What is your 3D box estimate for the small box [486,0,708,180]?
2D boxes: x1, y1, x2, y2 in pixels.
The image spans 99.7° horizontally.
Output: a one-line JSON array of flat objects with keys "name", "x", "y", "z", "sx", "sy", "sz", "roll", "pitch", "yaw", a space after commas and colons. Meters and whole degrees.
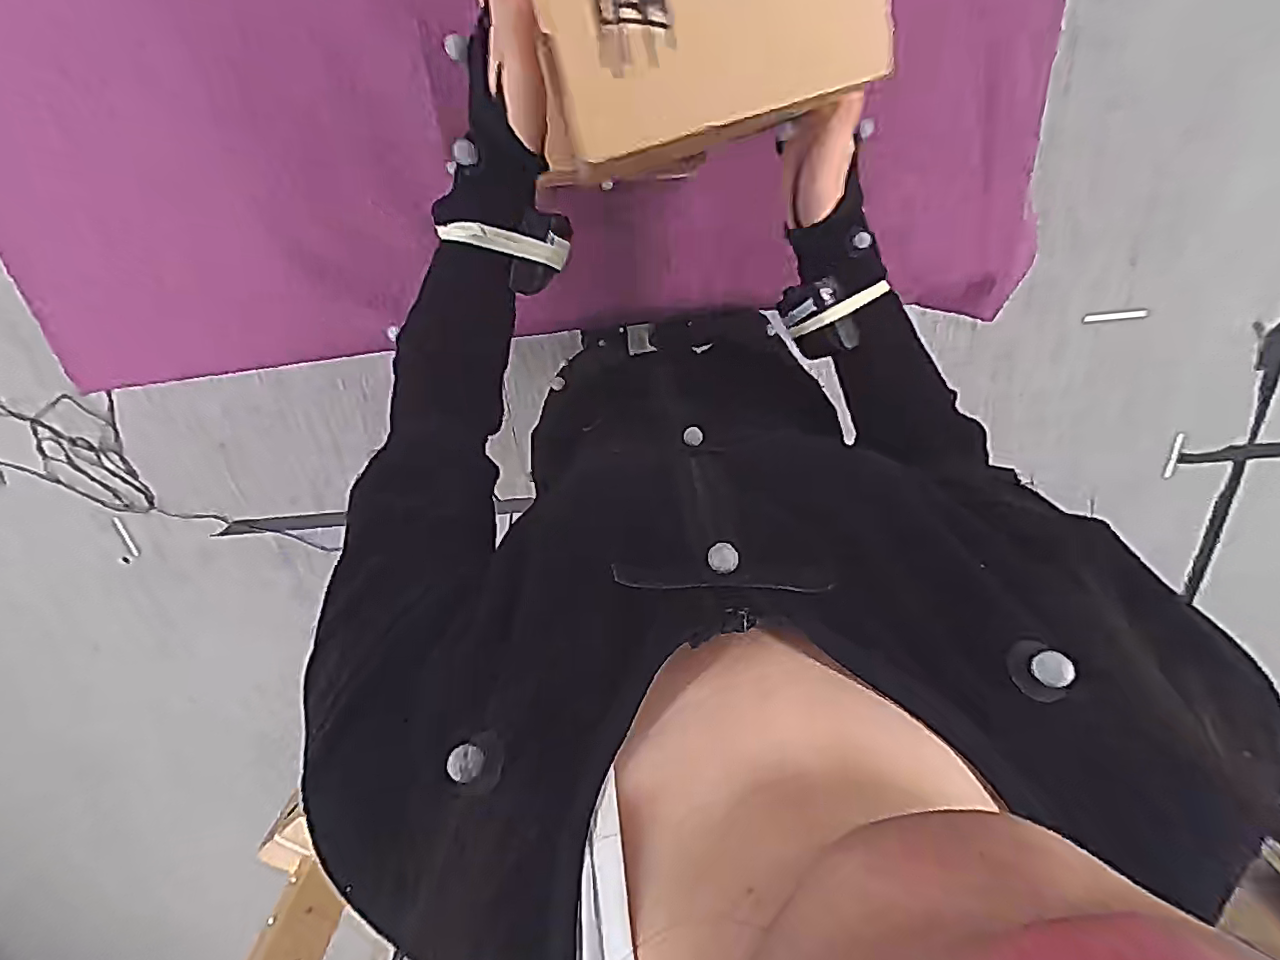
[{"name": "small box", "x": -0.031, "y": -0.384, "z": 0.507, "sx": 0.179, "sy": 0.176, "sz": 0.168, "roll": -3, "pitch": 116, "yaw": 1}]

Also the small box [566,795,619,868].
[{"name": "small box", "x": -0.180, "y": 1.380, "z": 2.128, "sx": 0.168, "sy": 0.176, "sz": 0.179, "roll": -15, "pitch": 113, "yaw": 5}]

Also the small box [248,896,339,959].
[{"name": "small box", "x": -1.062, "y": 1.421, "z": 1.649, "sx": 0.168, "sy": 0.176, "sz": 0.179, "roll": 41, "pitch": 110, "yaw": -17}]

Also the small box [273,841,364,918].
[{"name": "small box", "x": -1.057, "y": 1.350, "z": 1.797, "sx": 0.168, "sy": 0.176, "sz": 0.179, "roll": 40, "pitch": 109, "yaw": -16}]
